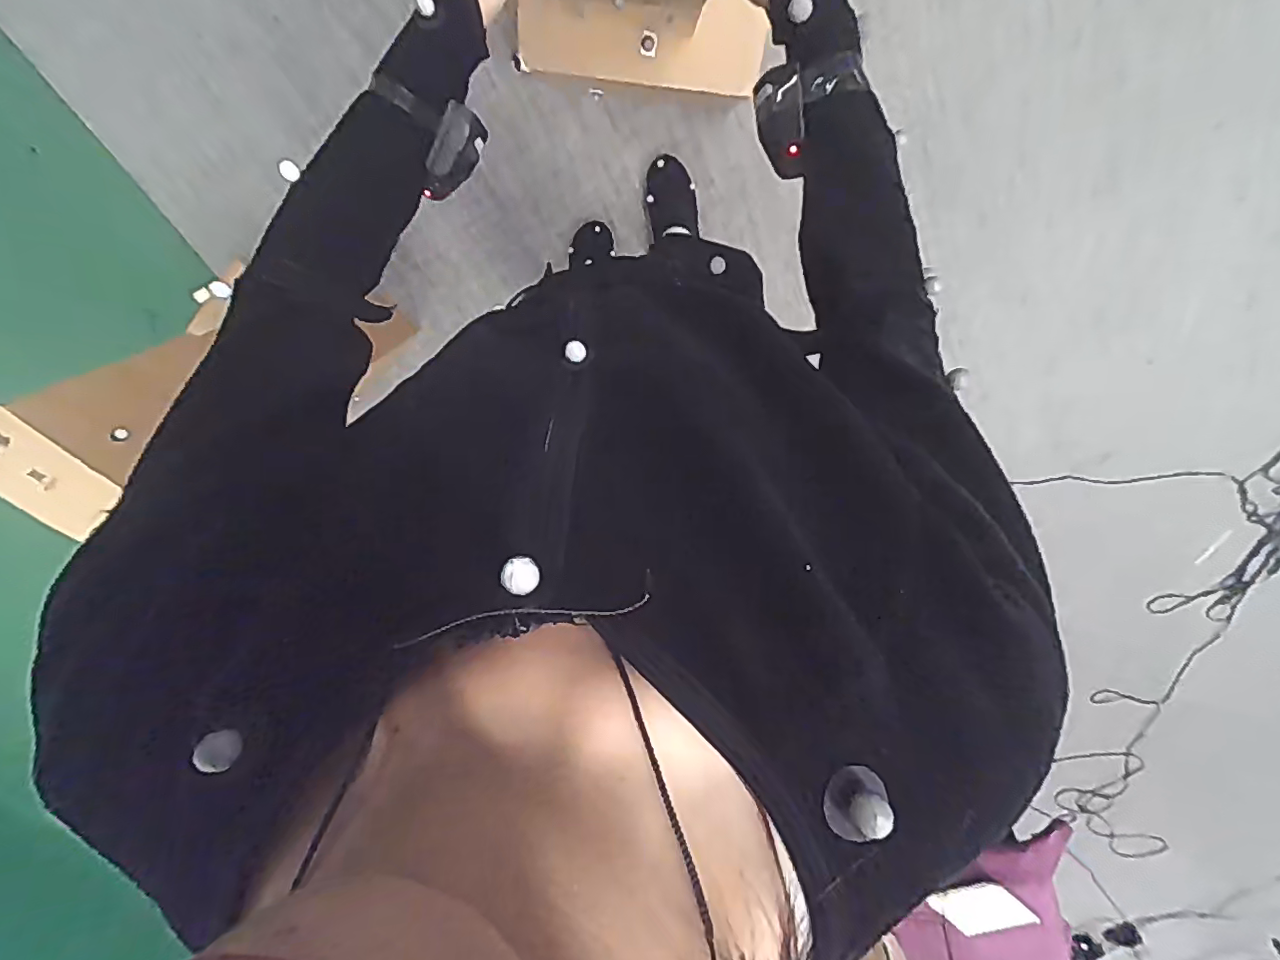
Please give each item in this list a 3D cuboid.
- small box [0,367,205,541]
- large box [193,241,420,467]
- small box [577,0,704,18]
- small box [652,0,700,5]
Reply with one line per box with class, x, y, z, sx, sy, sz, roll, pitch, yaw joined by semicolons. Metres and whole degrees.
small box;-0.846;-0.045;0.846;0.168;0.176;0.179;-33;116;20
large box;-0.838;-0.317;1.351;0.408;0.320;0.320;-36;112;23
small box;0.001;-0.657;0.619;0.179;0.176;0.168;5;121;-1
small box;-0.007;-0.526;0.449;0.168;0.176;0.179;3;123;-3
